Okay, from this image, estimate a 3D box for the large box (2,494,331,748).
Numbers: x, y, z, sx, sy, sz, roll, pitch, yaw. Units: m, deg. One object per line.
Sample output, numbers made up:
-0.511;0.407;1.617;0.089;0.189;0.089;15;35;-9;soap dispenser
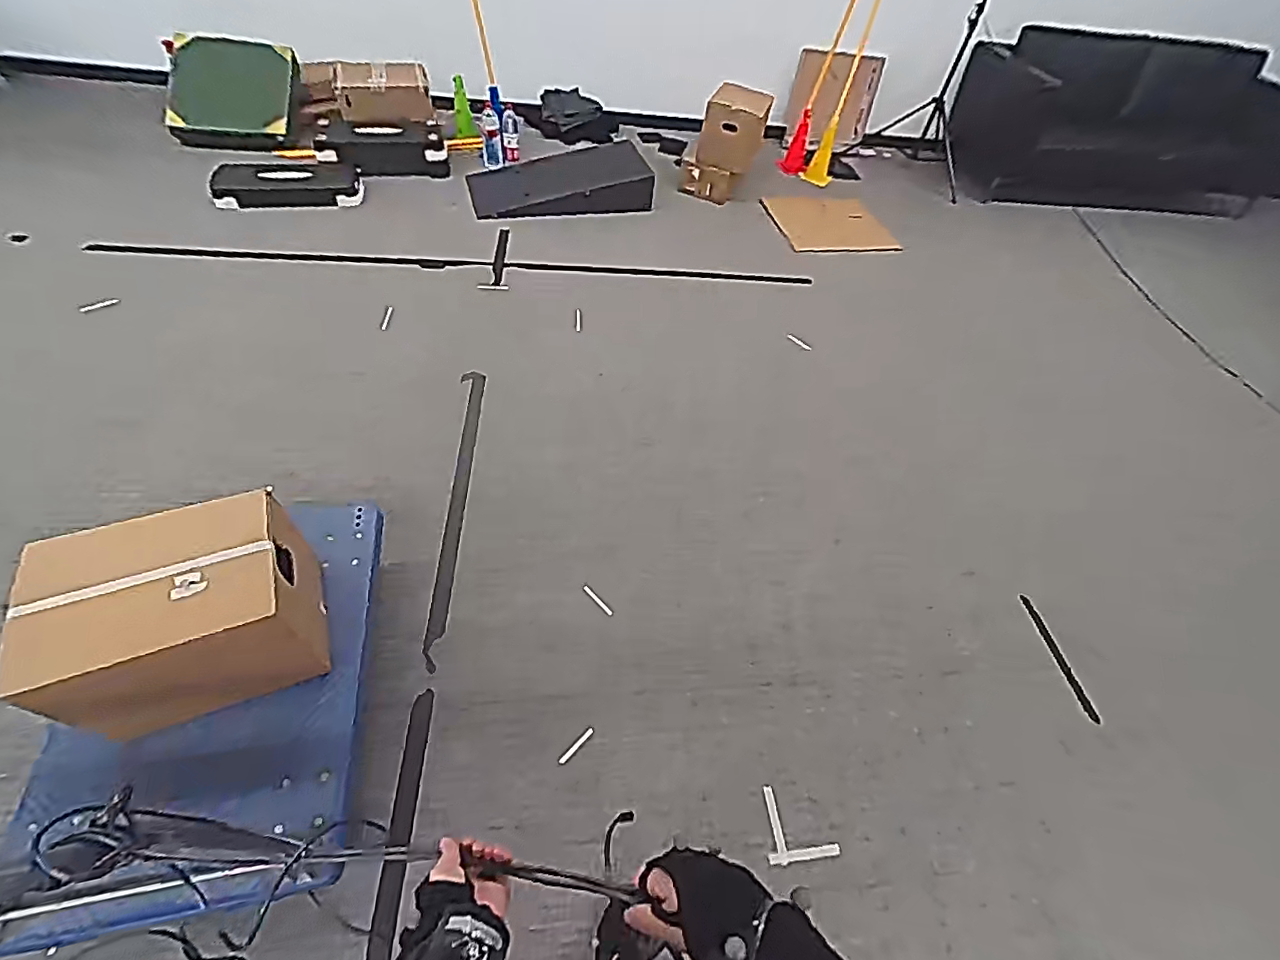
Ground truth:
-0.920;0.287;1.121;0.408;0.320;0.320;-16;56;-21;large box
